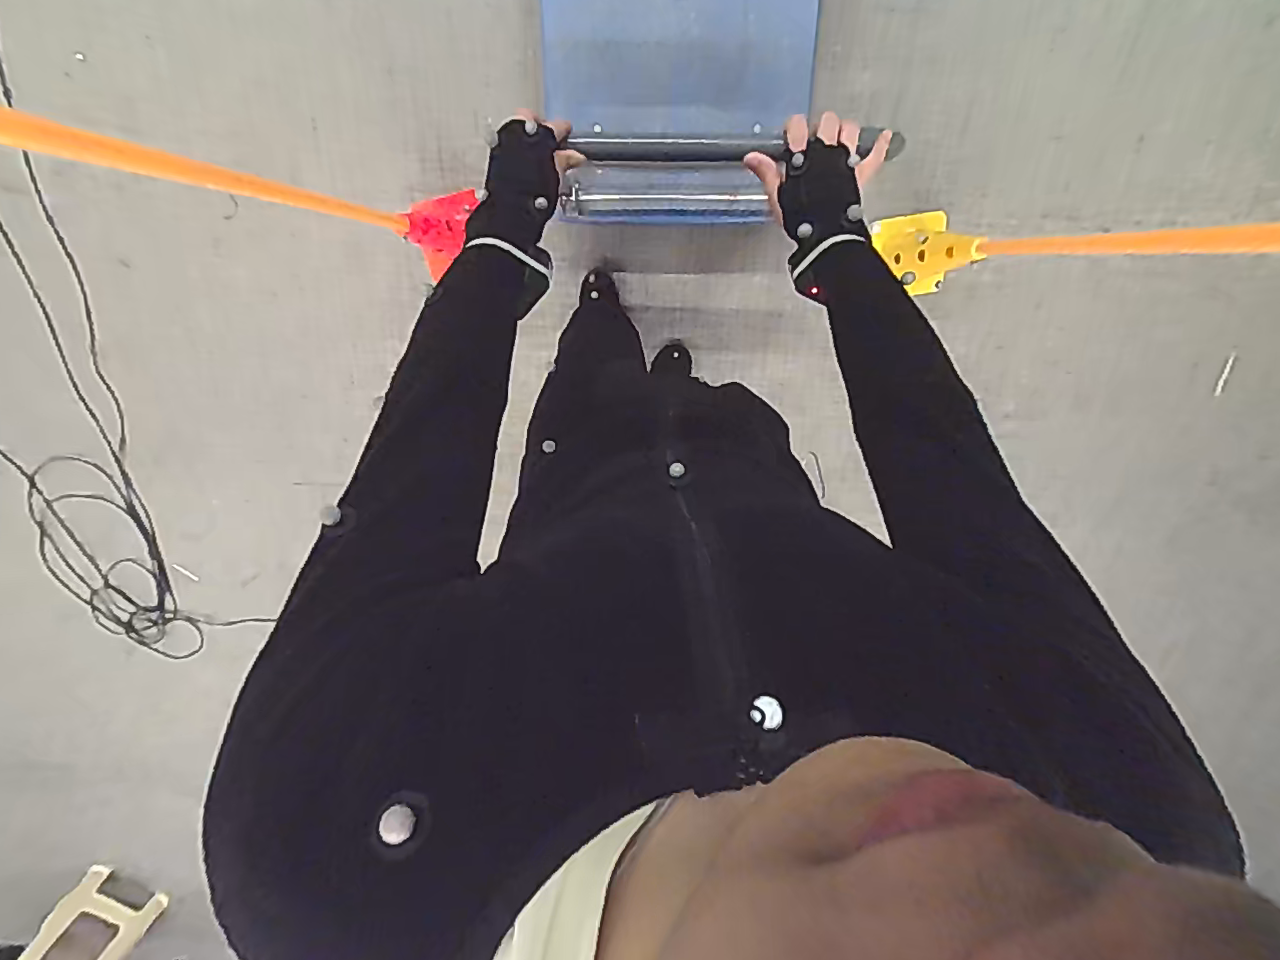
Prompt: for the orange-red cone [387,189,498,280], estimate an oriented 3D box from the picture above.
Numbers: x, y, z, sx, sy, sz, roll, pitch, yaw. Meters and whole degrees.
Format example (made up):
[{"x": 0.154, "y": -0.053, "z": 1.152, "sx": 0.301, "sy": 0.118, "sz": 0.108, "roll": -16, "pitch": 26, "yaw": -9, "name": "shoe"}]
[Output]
[{"x": -0.491, "y": -0.583, "z": 1.260, "sx": 0.199, "sy": 0.360, "sz": 0.198, "roll": -10, "pitch": 109, "yaw": 6, "name": "orange-red cone"}]
